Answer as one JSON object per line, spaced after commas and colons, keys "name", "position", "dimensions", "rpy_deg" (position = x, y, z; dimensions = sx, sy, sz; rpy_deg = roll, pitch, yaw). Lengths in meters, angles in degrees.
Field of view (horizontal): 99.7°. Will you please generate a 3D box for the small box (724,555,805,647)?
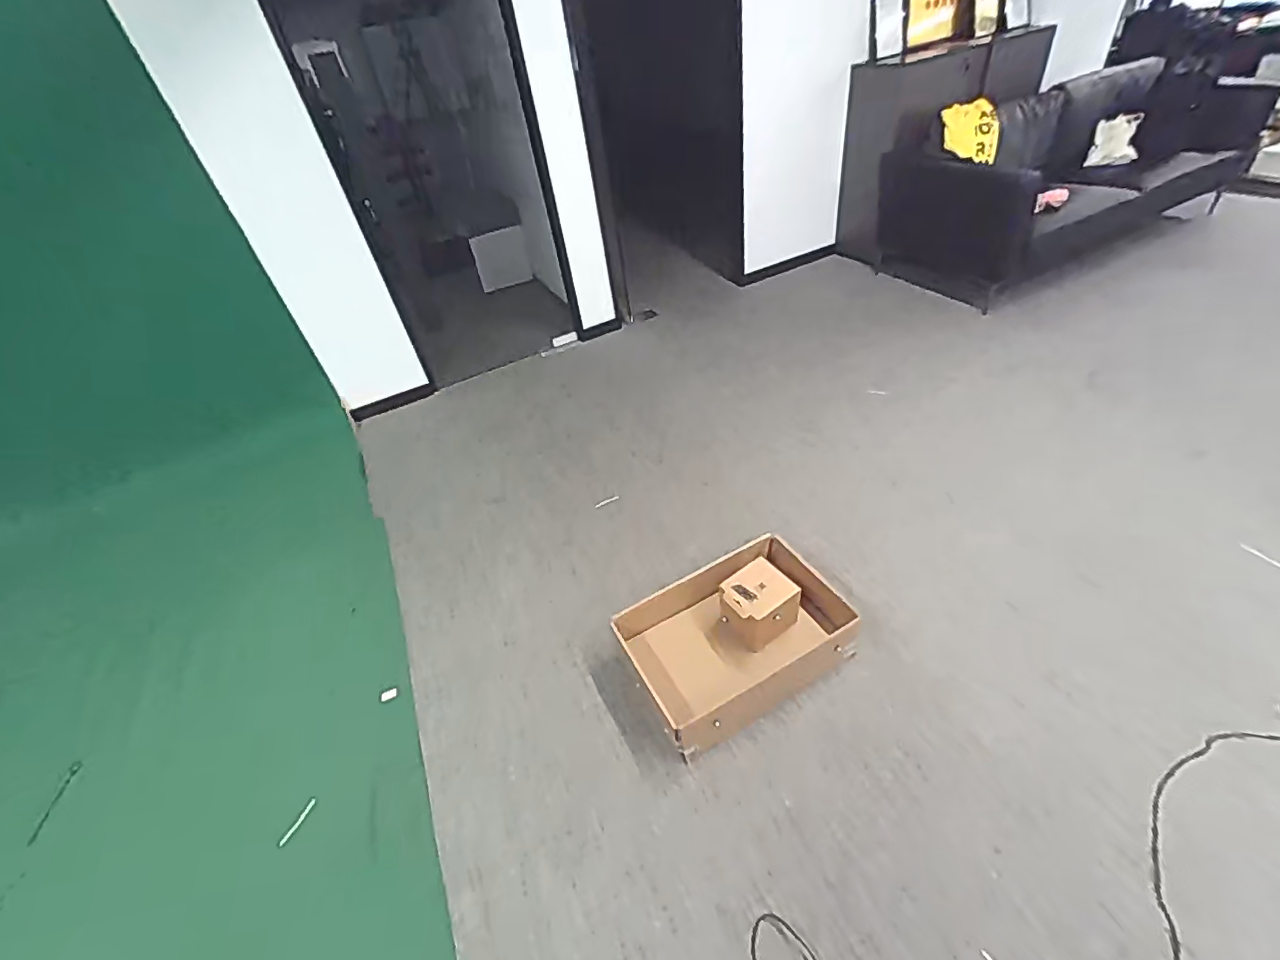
{"name": "small box", "position": [0.378, 0.371, 1.639], "dimensions": [0.179, 0.176, 0.168], "rpy_deg": [-30, 45, -20]}
